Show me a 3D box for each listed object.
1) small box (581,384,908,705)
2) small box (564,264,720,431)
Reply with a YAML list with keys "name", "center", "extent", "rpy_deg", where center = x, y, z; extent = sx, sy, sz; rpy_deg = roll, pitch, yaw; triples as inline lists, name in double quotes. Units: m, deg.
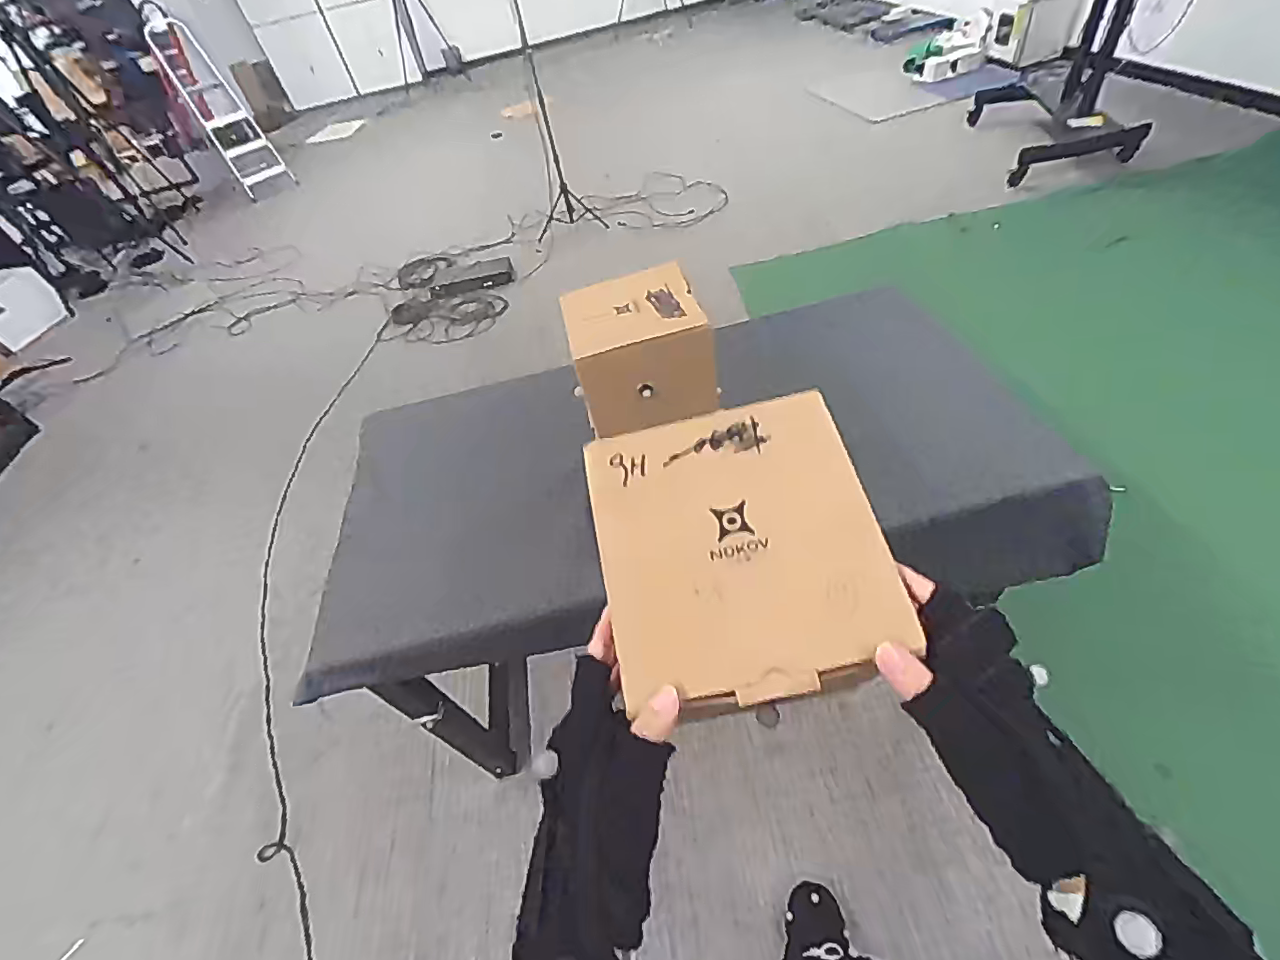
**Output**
- name: "small box"
  center: [0.064, 0.061, 0.401]
  extent: [0.168, 0.176, 0.179]
  rpy_deg: [-13, 64, 2]
- name: "small box"
  center: [0.006, -0.171, 0.764]
  extent: [0.179, 0.176, 0.168]
  rpy_deg: [-17, 49, -3]
